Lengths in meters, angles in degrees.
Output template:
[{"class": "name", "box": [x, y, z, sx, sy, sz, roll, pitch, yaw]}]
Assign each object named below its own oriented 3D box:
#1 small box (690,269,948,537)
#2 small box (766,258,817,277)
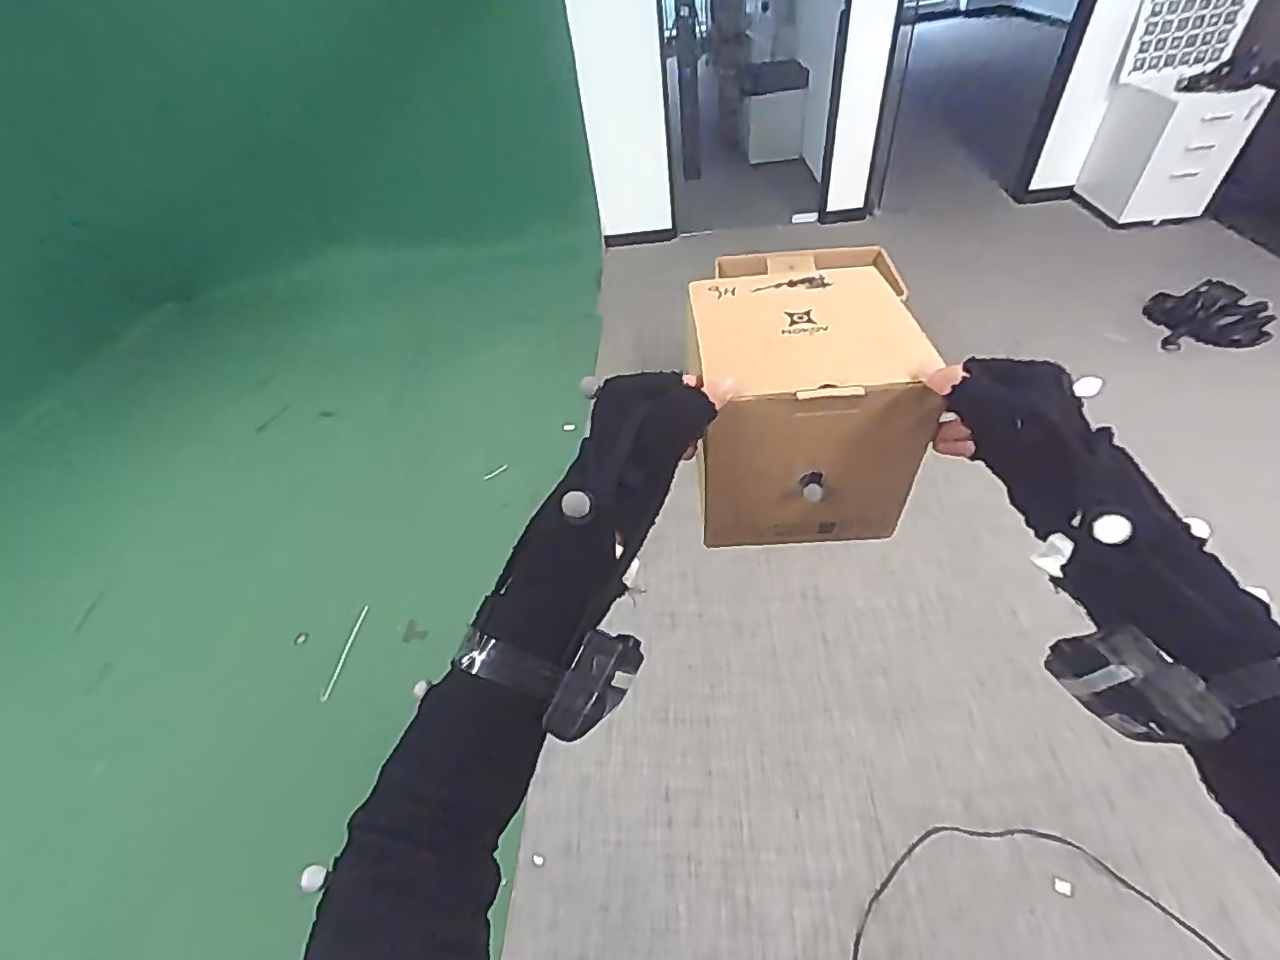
[{"class": "small box", "box": [0.132, -0.062, 0.476, 0.168, 0.176, 0.179, -3, 46, 3]}, {"class": "small box", "box": [0.542, -0.686, 1.958, 0.168, 0.176, 0.179, 2, 44, 8]}]
